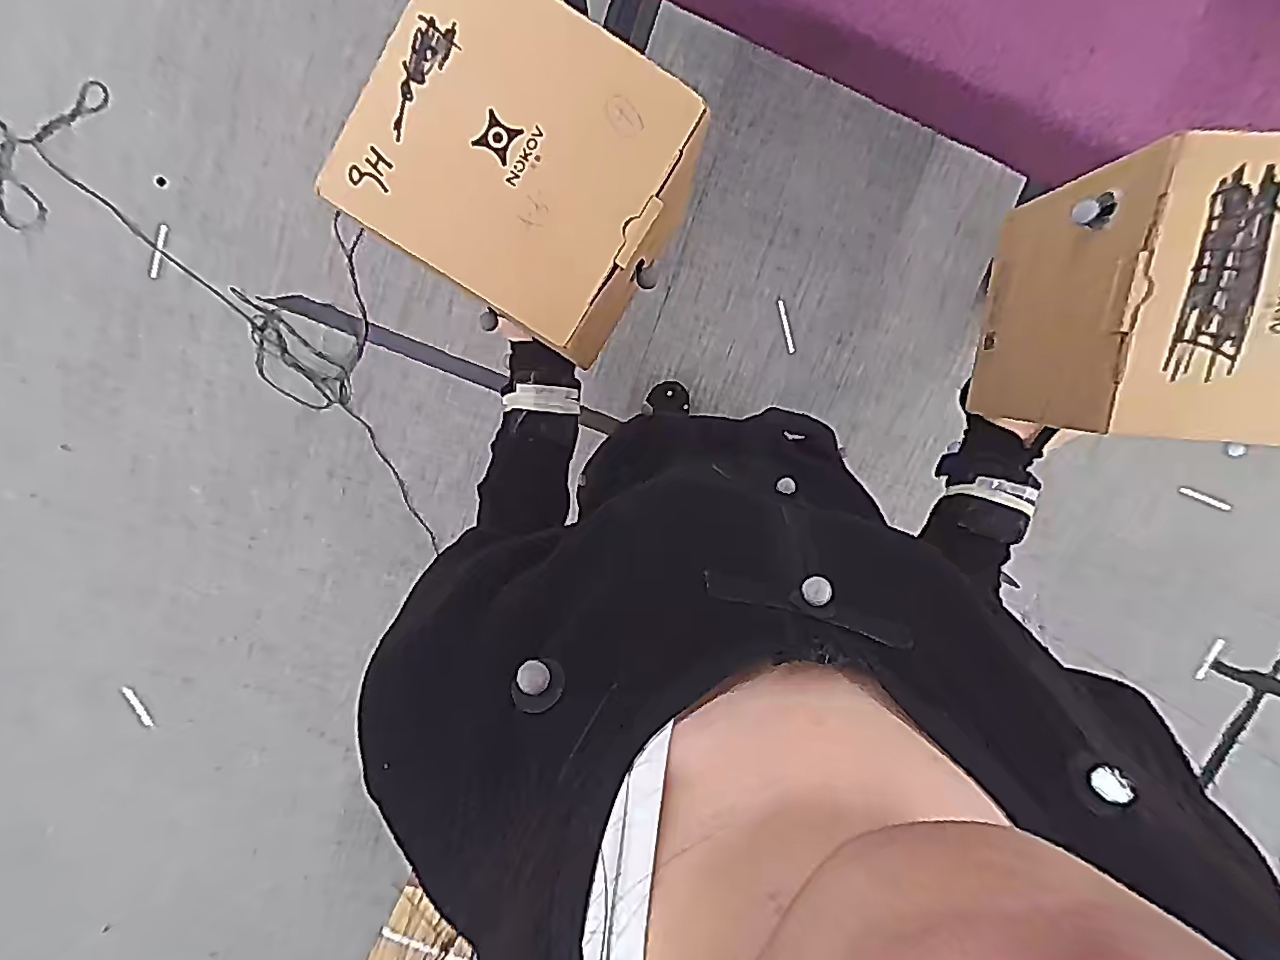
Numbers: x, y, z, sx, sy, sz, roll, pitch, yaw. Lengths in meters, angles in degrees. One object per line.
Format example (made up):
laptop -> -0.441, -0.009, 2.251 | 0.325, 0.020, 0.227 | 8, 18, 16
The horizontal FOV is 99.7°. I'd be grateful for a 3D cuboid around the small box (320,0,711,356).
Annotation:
small box -> -0.075, -0.204, 0.394 | 0.179, 0.176, 0.168 | 32, 95, -5
